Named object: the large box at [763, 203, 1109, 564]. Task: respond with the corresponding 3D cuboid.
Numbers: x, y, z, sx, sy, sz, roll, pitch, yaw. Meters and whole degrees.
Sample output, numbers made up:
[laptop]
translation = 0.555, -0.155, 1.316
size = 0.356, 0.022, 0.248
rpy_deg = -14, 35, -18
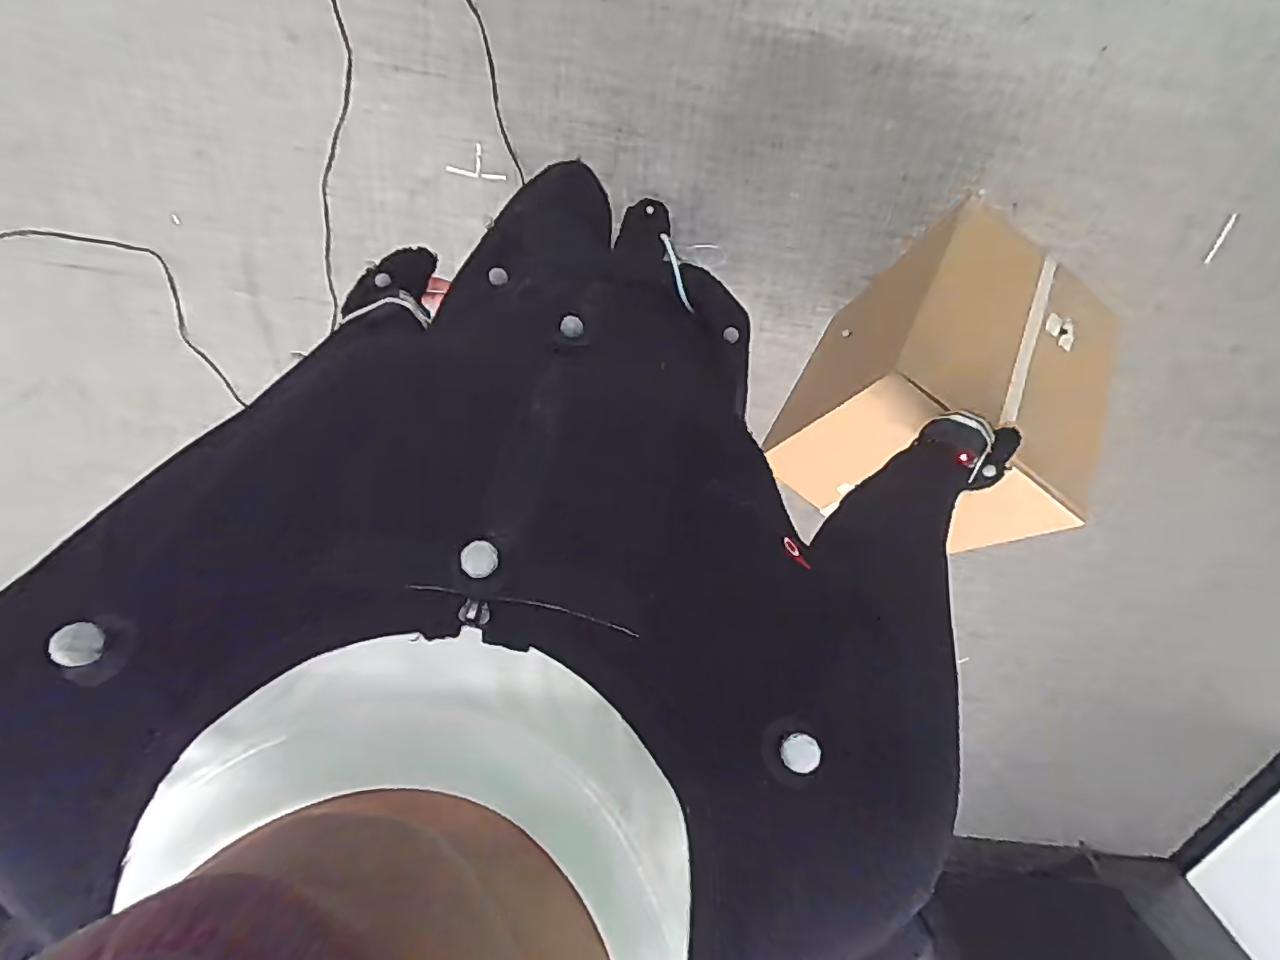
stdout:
[large box]
translation = 0.463, -0.134, 0.869
size = 0.320, 0.408, 0.320
rpy_deg = 37, 153, -6
